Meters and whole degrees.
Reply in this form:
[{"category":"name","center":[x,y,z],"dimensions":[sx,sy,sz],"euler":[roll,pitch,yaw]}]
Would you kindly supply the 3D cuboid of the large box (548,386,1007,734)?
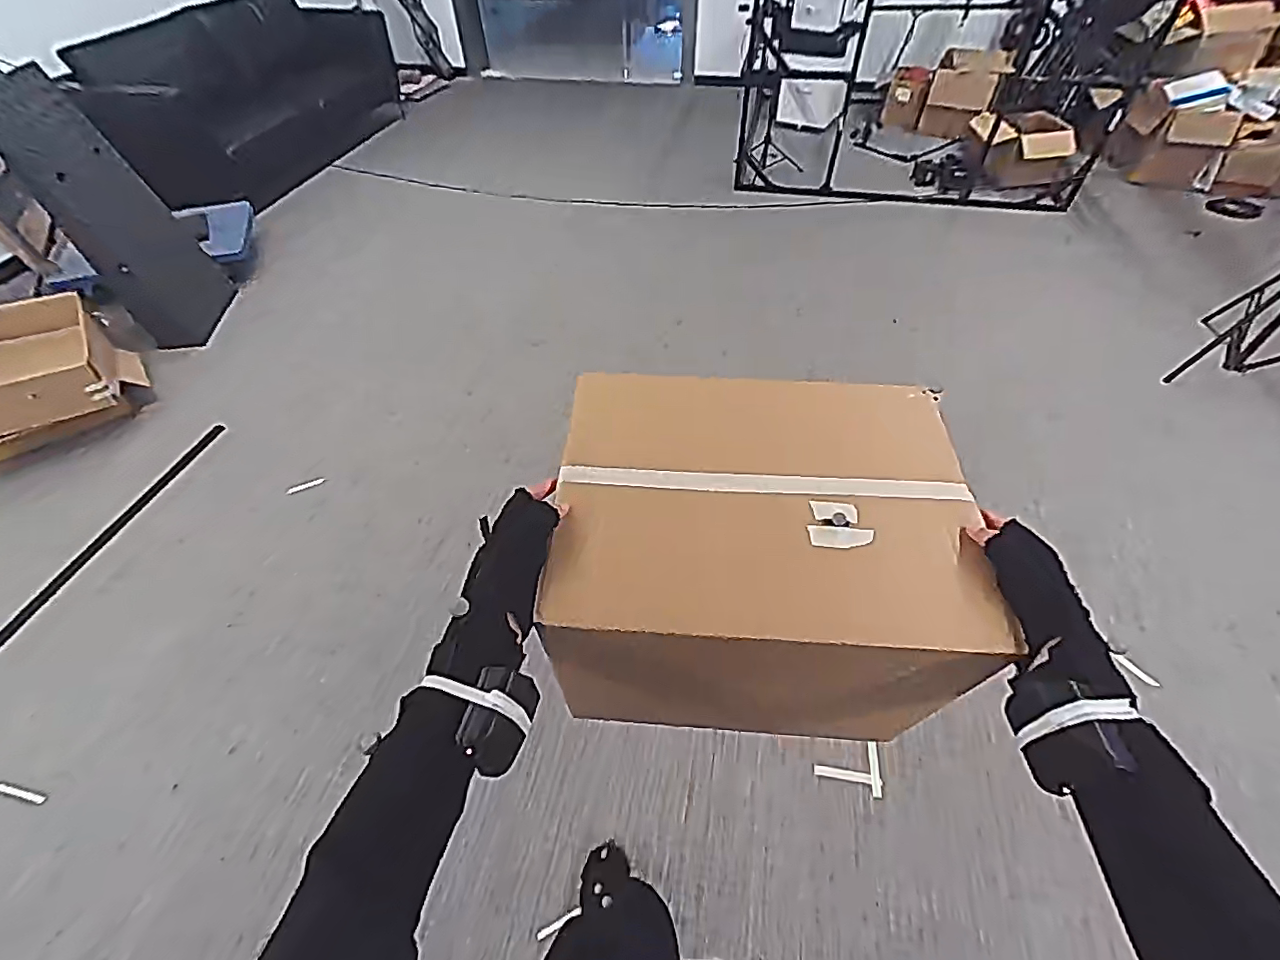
[{"category":"large box","center":[0.123,0.106,0.671],"dimensions":[0.408,0.320,0.320],"euler":[3,53,3]}]
